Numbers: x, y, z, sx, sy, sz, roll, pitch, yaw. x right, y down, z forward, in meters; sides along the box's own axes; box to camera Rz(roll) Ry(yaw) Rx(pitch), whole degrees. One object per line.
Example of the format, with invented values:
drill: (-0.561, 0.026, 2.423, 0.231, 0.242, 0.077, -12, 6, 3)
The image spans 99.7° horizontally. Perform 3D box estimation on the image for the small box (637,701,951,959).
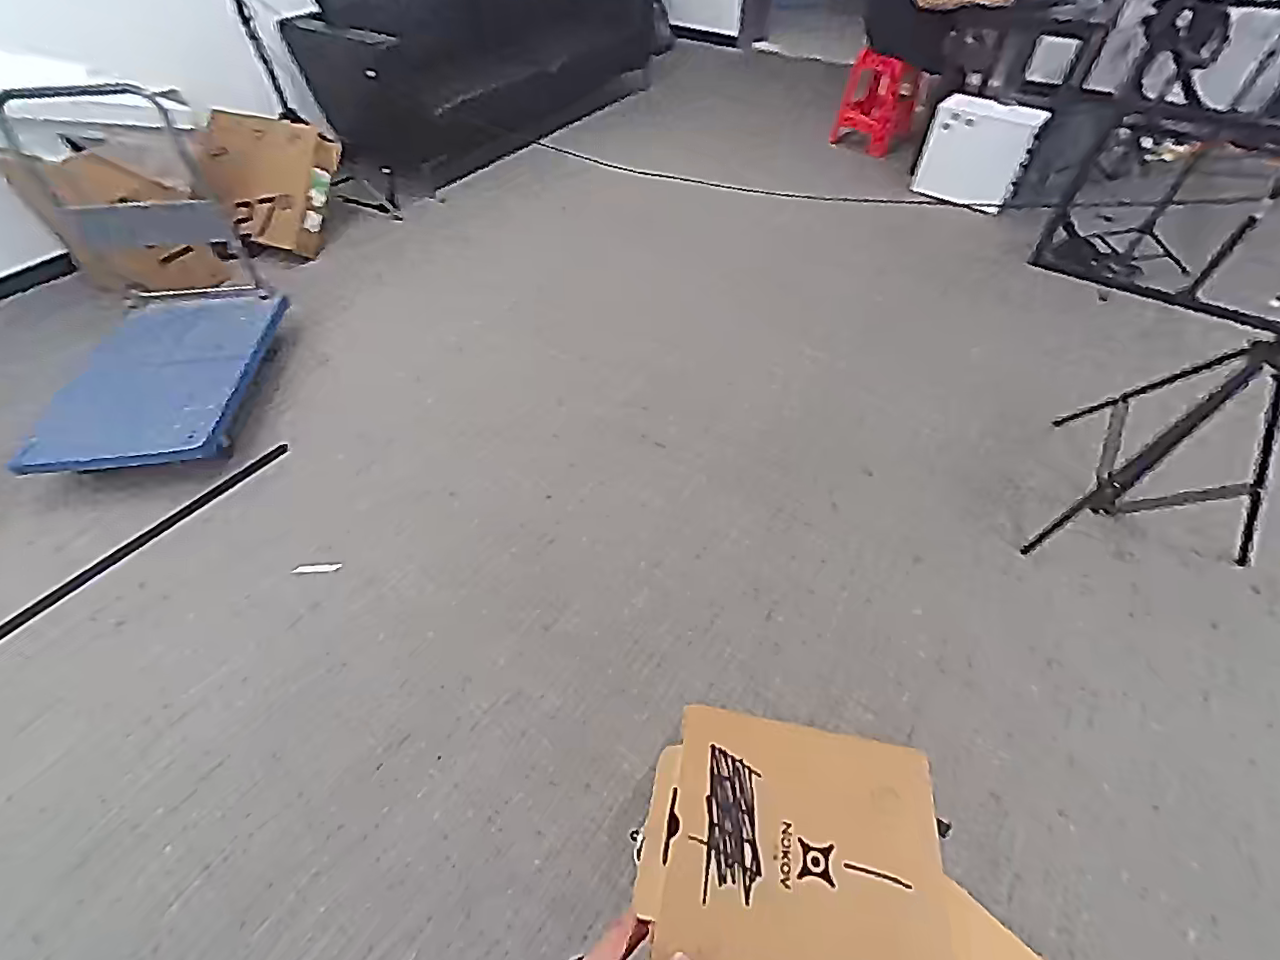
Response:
small box: (0.100, 0.291, 0.399, 0.179, 0.176, 0.168, 9, 48, 8)
